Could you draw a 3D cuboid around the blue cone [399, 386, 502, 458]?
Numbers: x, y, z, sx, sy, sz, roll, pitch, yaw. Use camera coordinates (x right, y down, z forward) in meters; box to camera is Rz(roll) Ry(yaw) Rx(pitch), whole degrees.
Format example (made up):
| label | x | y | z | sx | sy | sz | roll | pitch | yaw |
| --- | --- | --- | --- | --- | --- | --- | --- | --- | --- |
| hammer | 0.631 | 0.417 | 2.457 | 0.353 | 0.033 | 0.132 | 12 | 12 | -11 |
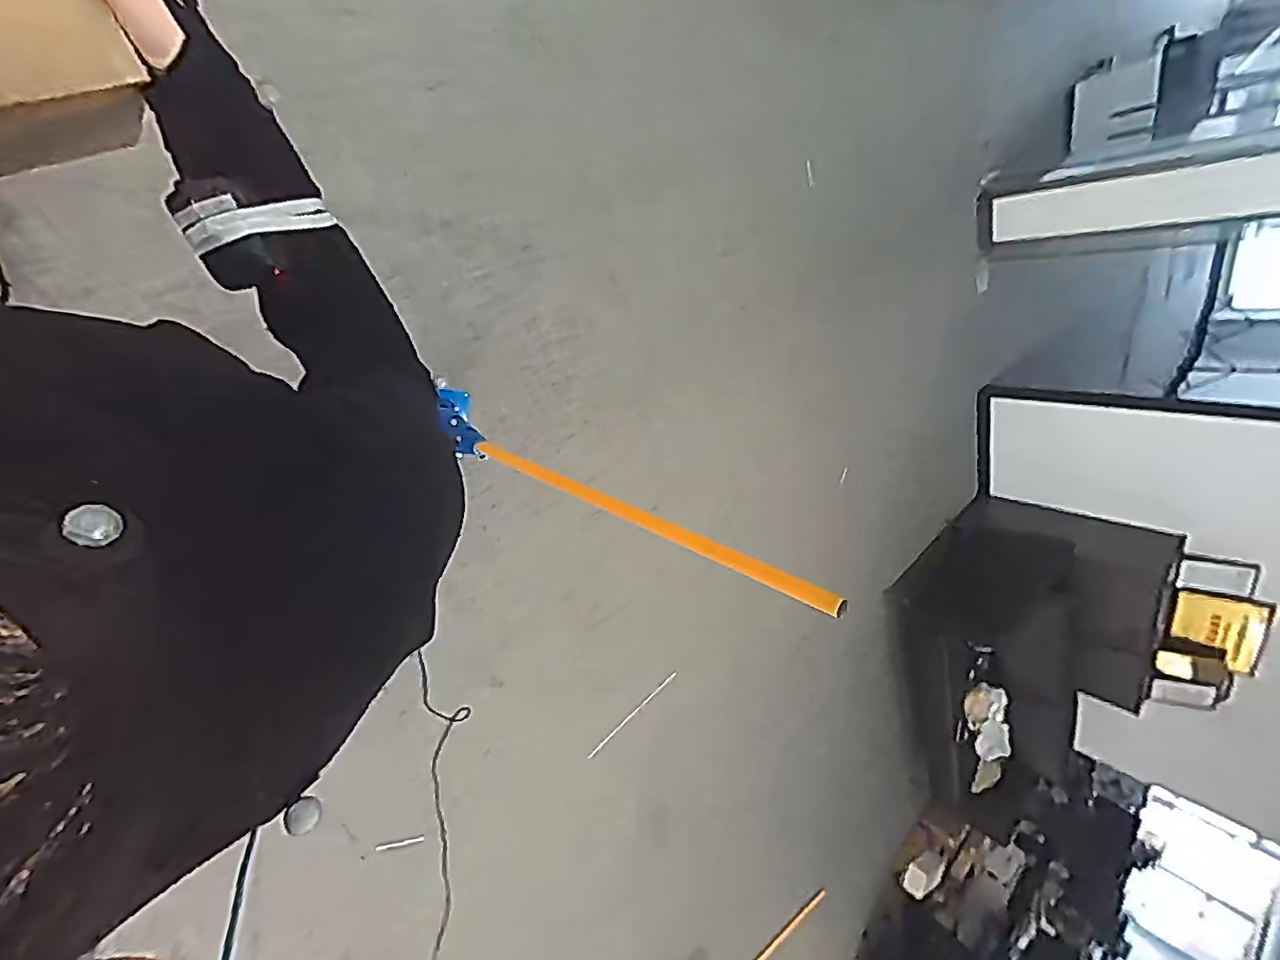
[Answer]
| label | x | y | z | sx | sy | sz | roll | pitch | yaw |
| --- | --- | --- | --- | --- | --- | --- | --- | --- | --- |
| blue cone | -0.445 | -0.123 | 1.330 | 0.192 | 0.380 | 0.193 | 1 | 101 | -40 |
